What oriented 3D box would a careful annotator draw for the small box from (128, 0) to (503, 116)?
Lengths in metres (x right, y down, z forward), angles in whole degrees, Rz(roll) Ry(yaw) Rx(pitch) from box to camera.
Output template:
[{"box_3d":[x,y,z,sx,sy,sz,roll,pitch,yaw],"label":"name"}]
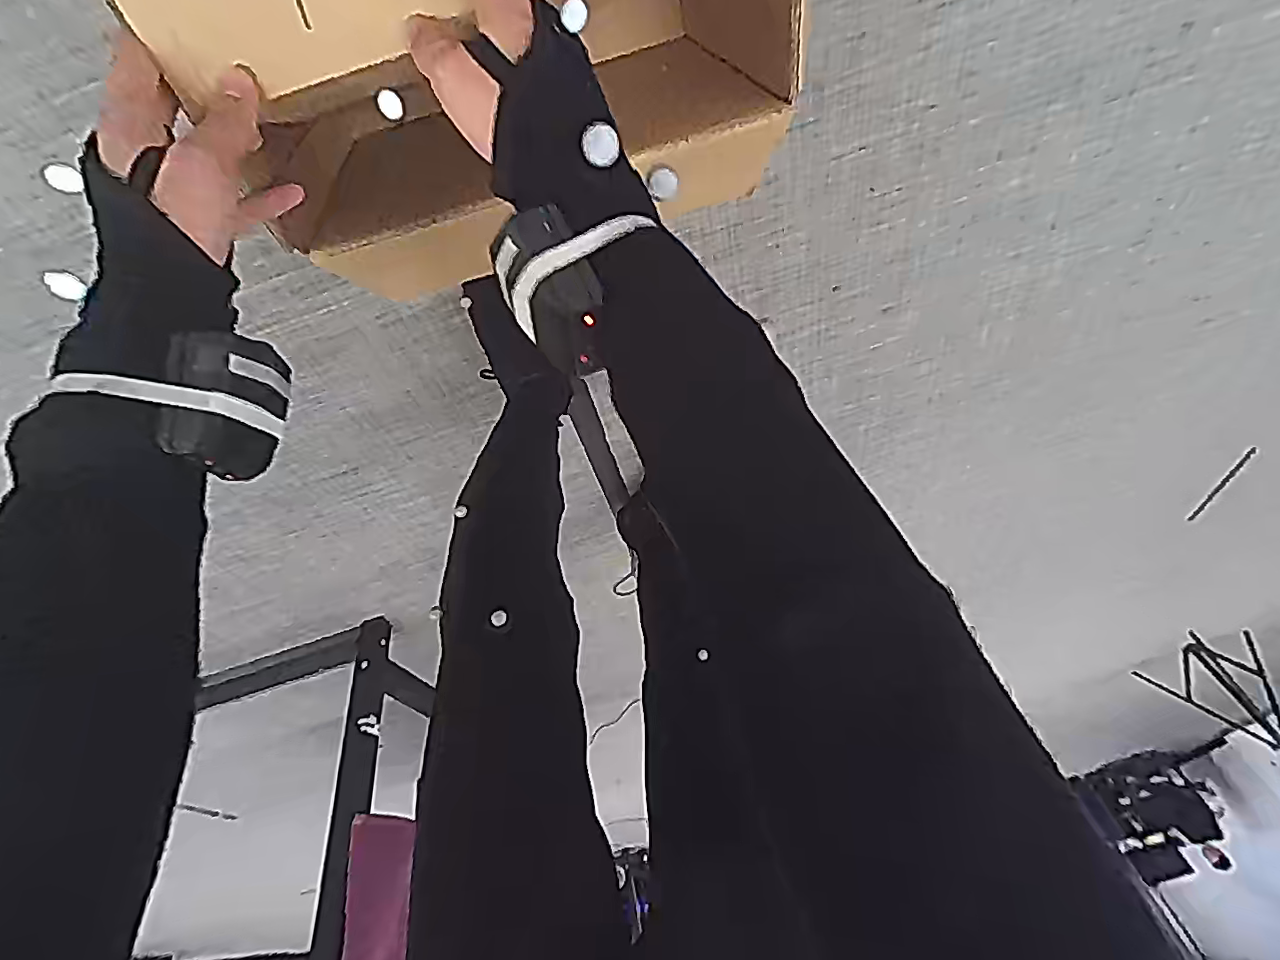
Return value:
[{"box_3d":[-0.191,-0.331,0.307,0.168,0.176,0.179,-16,126,3],"label":"small box"}]
